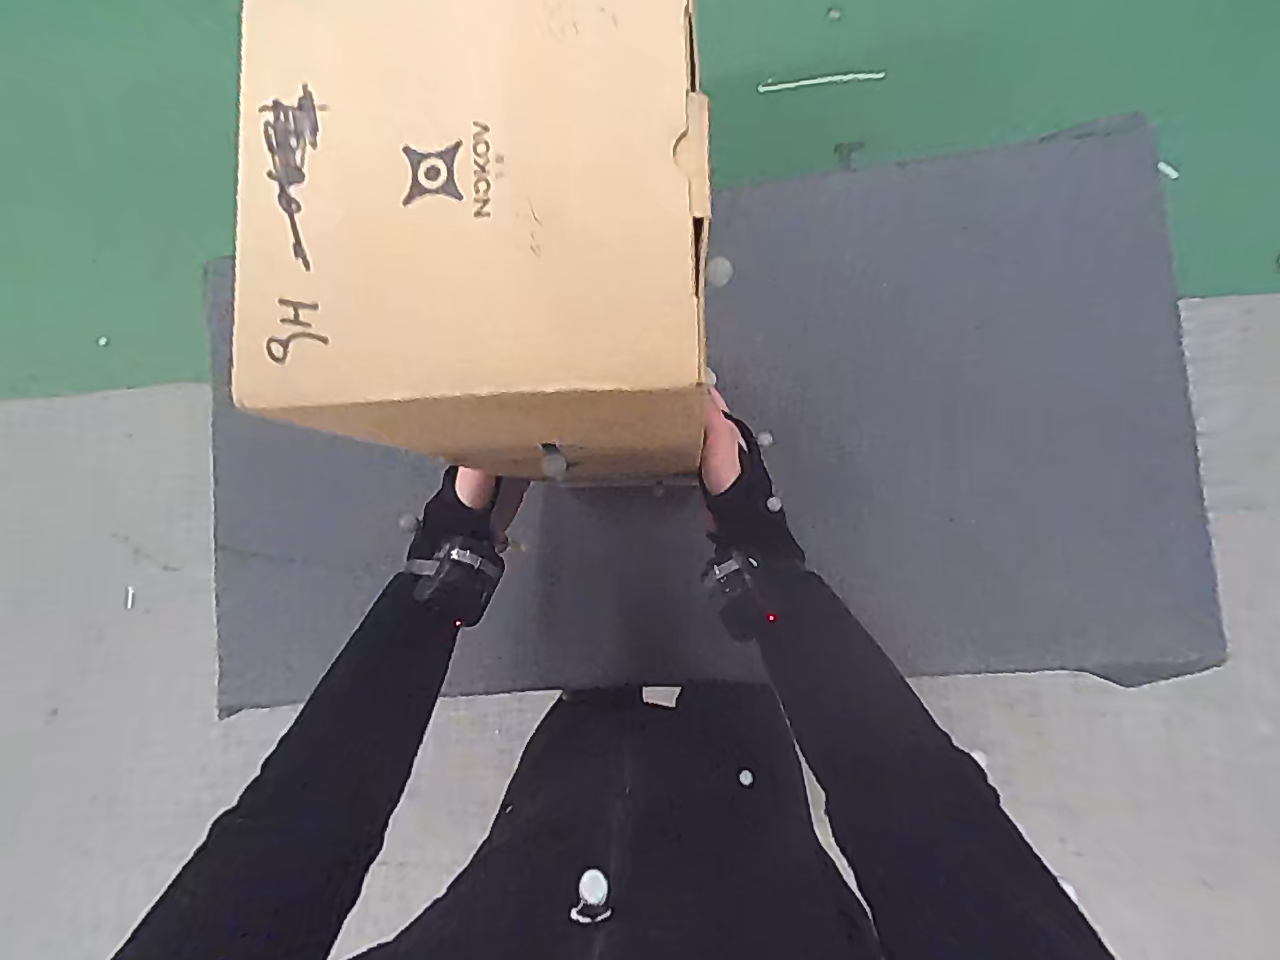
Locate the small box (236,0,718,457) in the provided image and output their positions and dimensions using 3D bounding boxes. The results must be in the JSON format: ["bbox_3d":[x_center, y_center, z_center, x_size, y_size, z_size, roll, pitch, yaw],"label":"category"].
[{"bbox_3d":[-0.055,-0.104,0.275,0.179,0.176,0.168,-2,85,6],"label":"small box"}]

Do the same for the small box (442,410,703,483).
[{"bbox_3d":[-0.040,-0.088,0.437,0.179,0.176,0.168,-3,85,5],"label":"small box"}]

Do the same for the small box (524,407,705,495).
[{"bbox_3d":[-0.018,-0.071,0.600,0.179,0.176,0.168,-2,85,8],"label":"small box"}]
